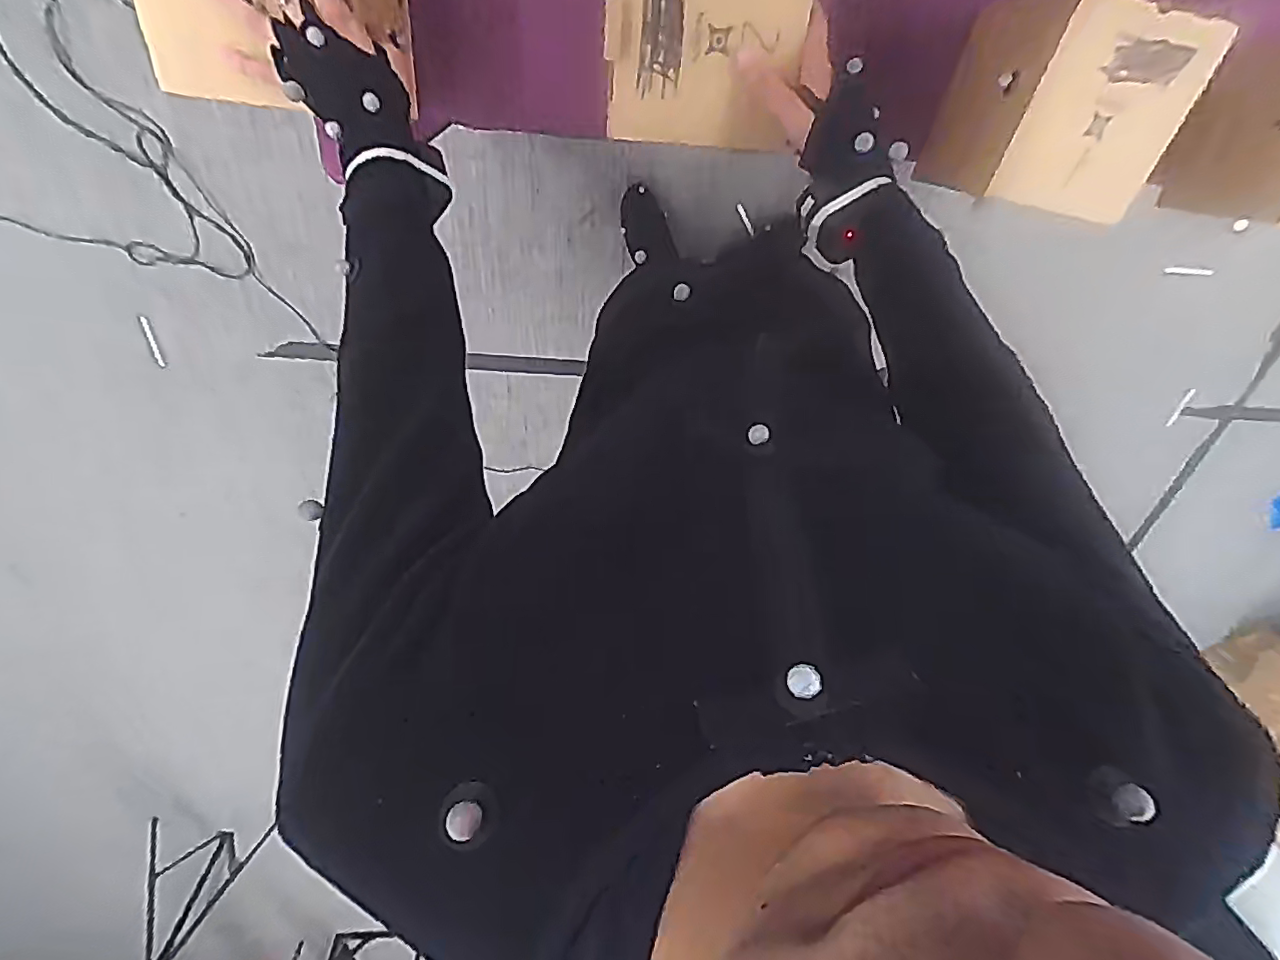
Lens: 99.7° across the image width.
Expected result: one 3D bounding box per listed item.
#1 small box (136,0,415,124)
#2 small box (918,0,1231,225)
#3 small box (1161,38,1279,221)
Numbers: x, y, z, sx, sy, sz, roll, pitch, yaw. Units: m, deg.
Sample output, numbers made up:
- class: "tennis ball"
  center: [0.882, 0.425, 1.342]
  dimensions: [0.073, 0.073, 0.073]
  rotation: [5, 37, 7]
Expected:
- class: "small box"
  center: [-0.332, -0.445, 0.512]
  dimensions: [0.179, 0.176, 0.168]
  rotation: [3, 123, -8]
- class: "small box"
  center: [0.446, -0.404, 0.596]
  dimensions: [0.168, 0.176, 0.179]
  rotation: [7, 124, -9]
- class: "small box"
  center: [0.778, -0.399, 0.622]
  dimensions: [0.168, 0.176, 0.179]
  rotation: [2, 123, -4]
